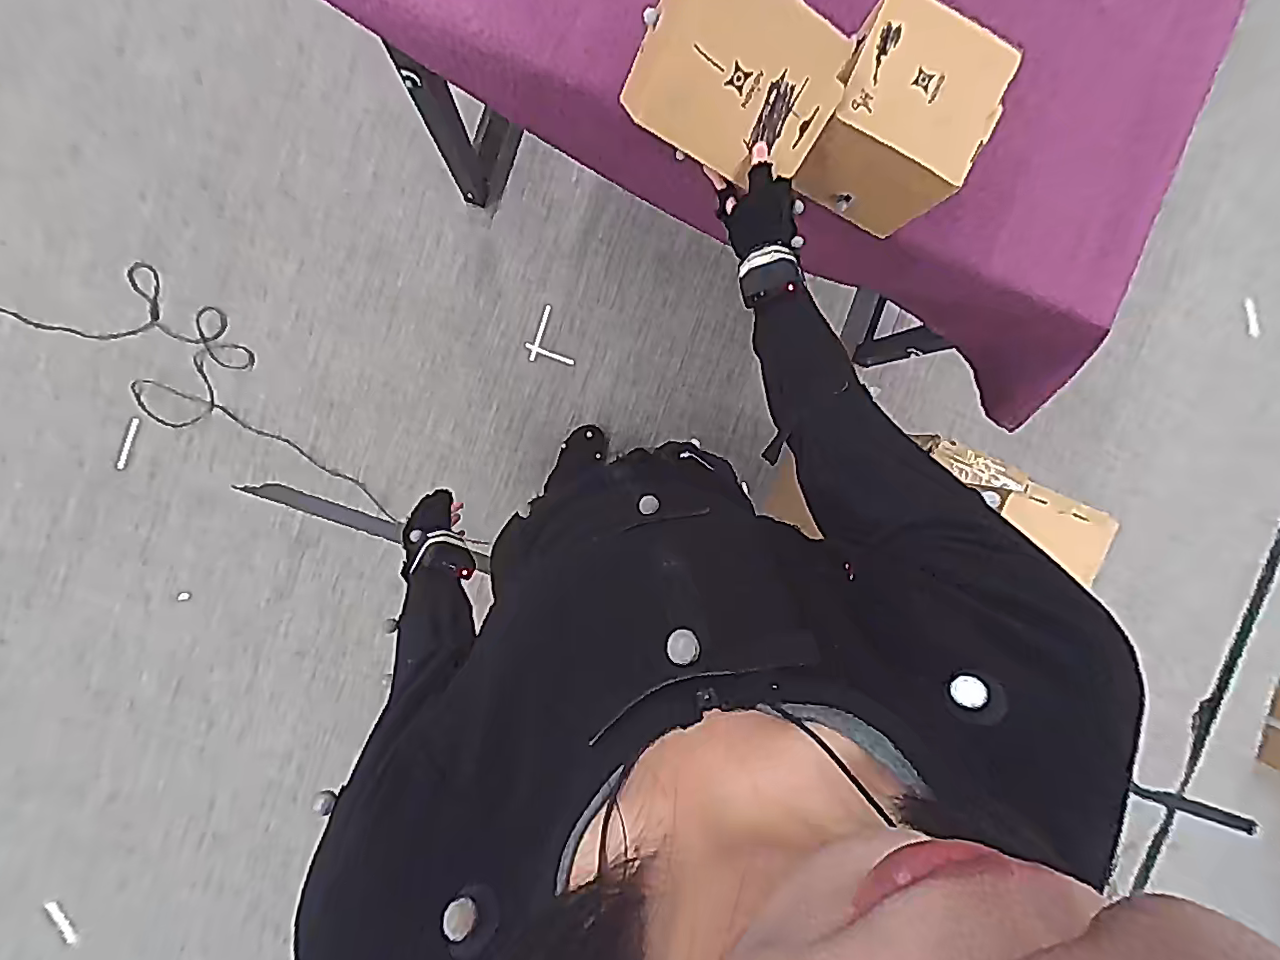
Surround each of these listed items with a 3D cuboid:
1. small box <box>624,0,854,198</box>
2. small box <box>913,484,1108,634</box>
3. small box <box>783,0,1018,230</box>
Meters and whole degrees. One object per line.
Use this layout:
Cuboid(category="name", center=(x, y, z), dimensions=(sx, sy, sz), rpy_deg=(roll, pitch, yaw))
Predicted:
Cuboid(category="small box", center=(0.099, -0.465, 0.623), dimensions=(0.179, 0.176, 0.168), rpy_deg=(18, 125, -23))
Cuboid(category="small box", center=(0.577, 0.114, 0.868), dimensions=(0.168, 0.176, 0.179), rpy_deg=(20, 94, -4))
Cuboid(category="small box", center=(0.316, -0.450, 0.692), dimensions=(0.179, 0.176, 0.168), rpy_deg=(24, 91, -8))
